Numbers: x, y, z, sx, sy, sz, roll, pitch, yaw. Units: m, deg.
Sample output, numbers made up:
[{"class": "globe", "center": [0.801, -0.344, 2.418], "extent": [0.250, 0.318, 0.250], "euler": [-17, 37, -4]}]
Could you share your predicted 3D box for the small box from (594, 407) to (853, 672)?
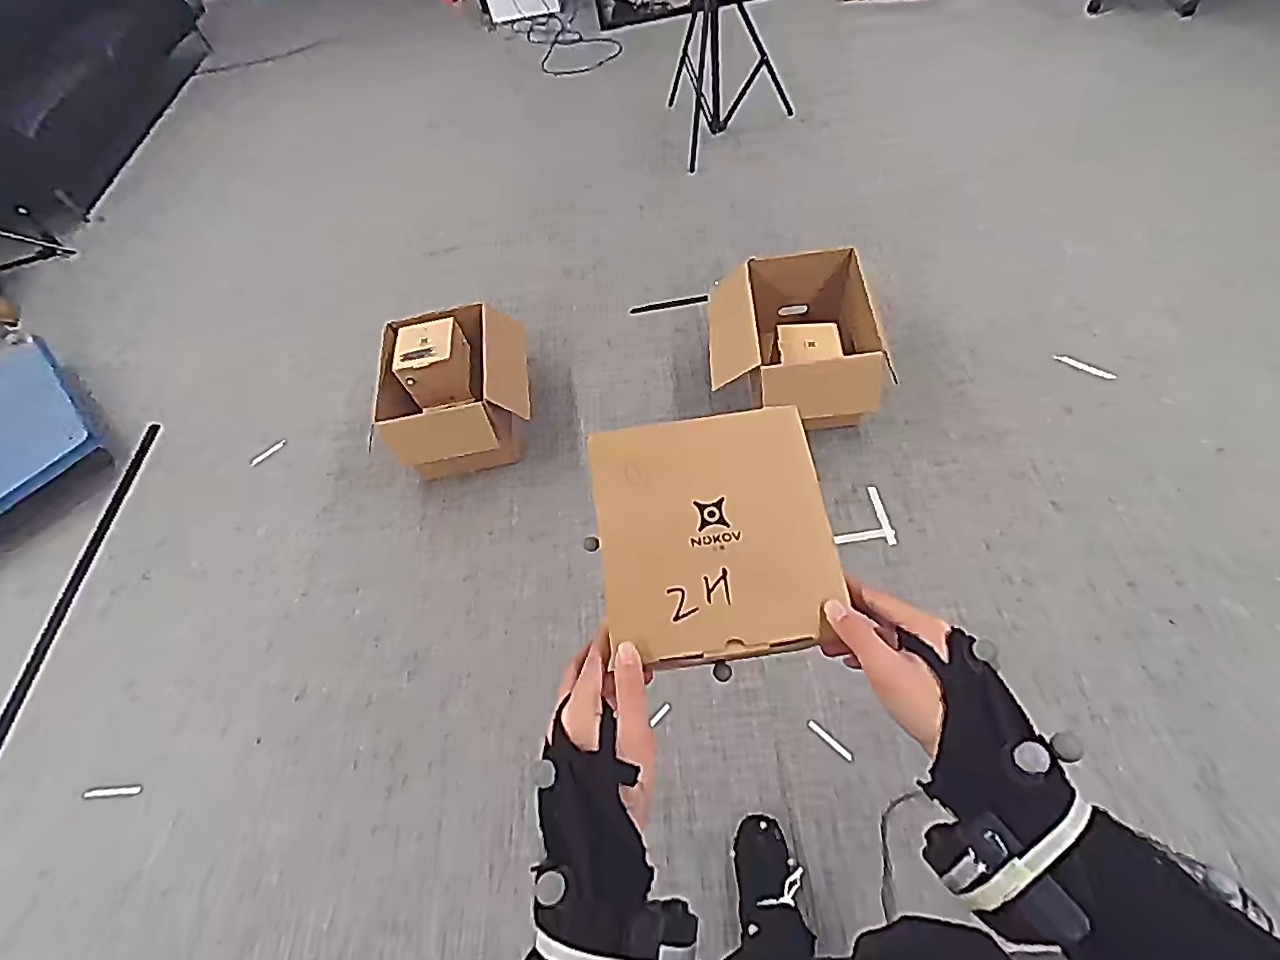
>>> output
[{"class": "small box", "center": [0.056, 0.061, 0.467], "extent": [0.168, 0.176, 0.179], "euler": [-8, 68, 0]}]
